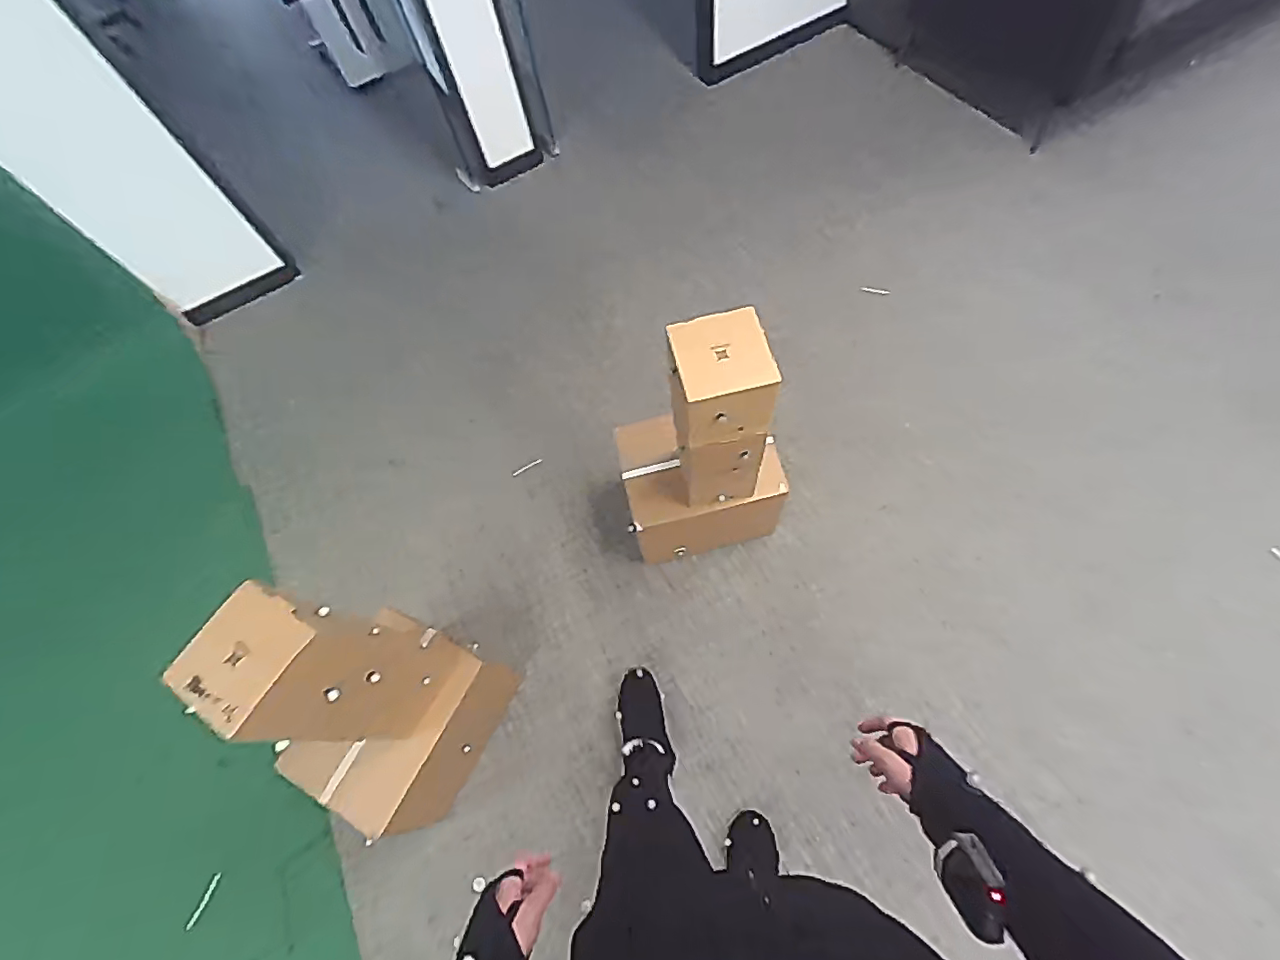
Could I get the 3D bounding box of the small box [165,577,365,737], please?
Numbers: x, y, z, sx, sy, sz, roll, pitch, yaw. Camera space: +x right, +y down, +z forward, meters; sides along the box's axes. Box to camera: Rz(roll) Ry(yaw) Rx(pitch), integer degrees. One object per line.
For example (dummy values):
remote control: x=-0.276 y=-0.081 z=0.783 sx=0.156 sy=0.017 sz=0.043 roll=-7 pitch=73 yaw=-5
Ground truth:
small box: x=-0.583 y=0.289 z=0.873 sx=0.168 sy=0.176 sz=0.179 roll=27 pitch=70 yaw=18

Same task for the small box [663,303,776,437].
small box: x=0.145 y=-0.197 z=1.022 sx=0.168 sy=0.176 sz=0.179 roll=-13 pitch=64 yaw=0

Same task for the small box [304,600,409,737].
small box: x=-0.569 y=0.358 z=1.021 sx=0.168 sy=0.176 sz=0.179 roll=27 pitch=71 yaw=18

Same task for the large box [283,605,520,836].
large box: x=-0.568 y=0.586 z=1.370 sx=0.320 sy=0.320 sz=0.408 roll=22 pitch=70 yaw=17

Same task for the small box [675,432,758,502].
small box: x=0.179 y=-0.067 z=1.317 sx=0.168 sy=0.176 sz=0.179 roll=-12 pitch=65 yaw=1

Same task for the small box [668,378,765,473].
small box: x=0.161 y=-0.128 z=1.167 sx=0.168 sy=0.176 sz=0.179 roll=-13 pitch=65 yaw=0
